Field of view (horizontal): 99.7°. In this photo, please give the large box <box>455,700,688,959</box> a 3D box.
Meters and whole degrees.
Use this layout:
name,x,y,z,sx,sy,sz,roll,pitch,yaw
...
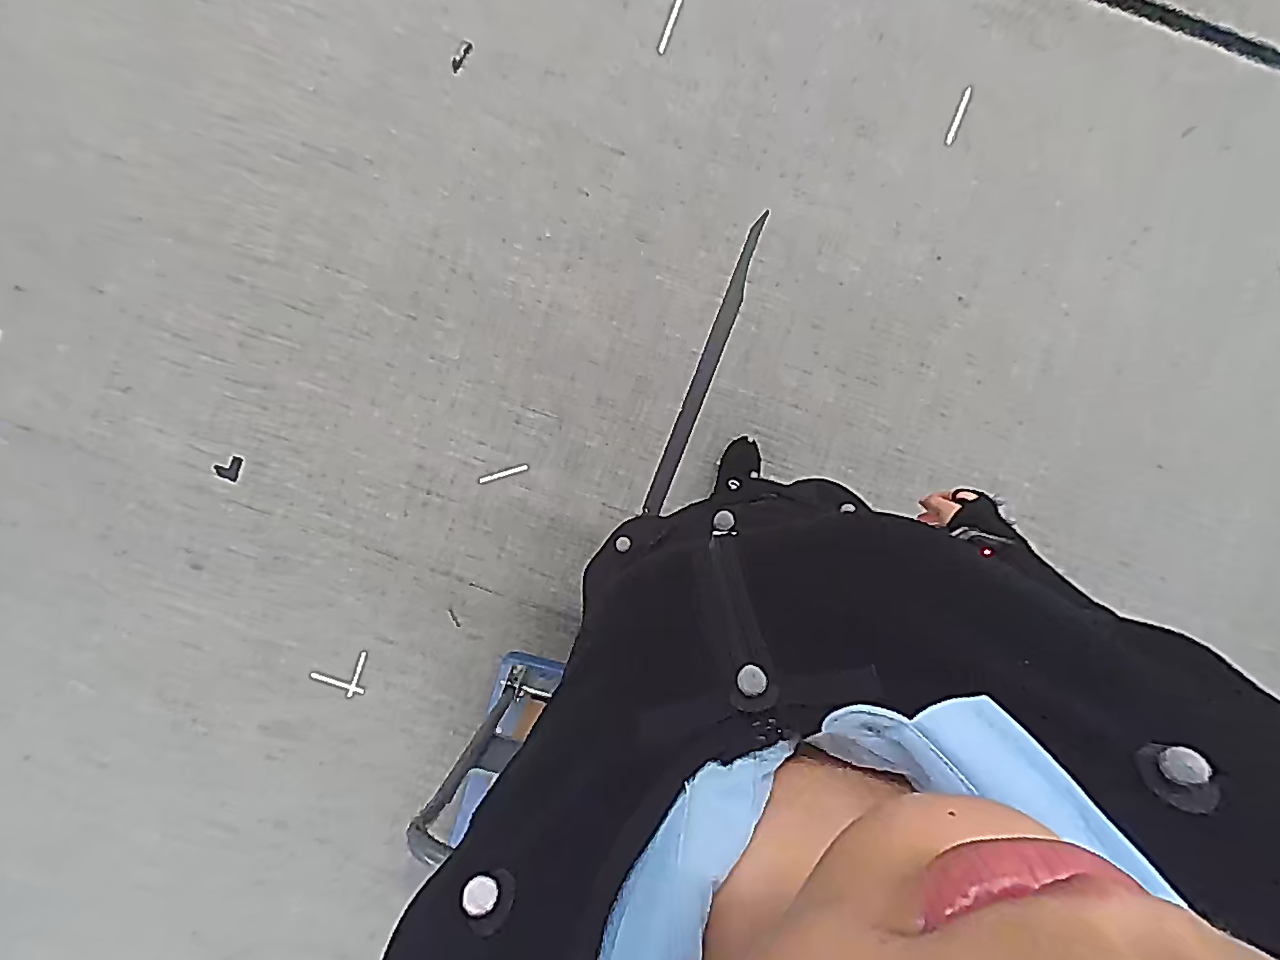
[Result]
name,x,y,z,sx,sy,sz,roll,pitch,yaw
large box,-0.130,0.747,1.205,0.408,0.320,0.320,17,92,0
